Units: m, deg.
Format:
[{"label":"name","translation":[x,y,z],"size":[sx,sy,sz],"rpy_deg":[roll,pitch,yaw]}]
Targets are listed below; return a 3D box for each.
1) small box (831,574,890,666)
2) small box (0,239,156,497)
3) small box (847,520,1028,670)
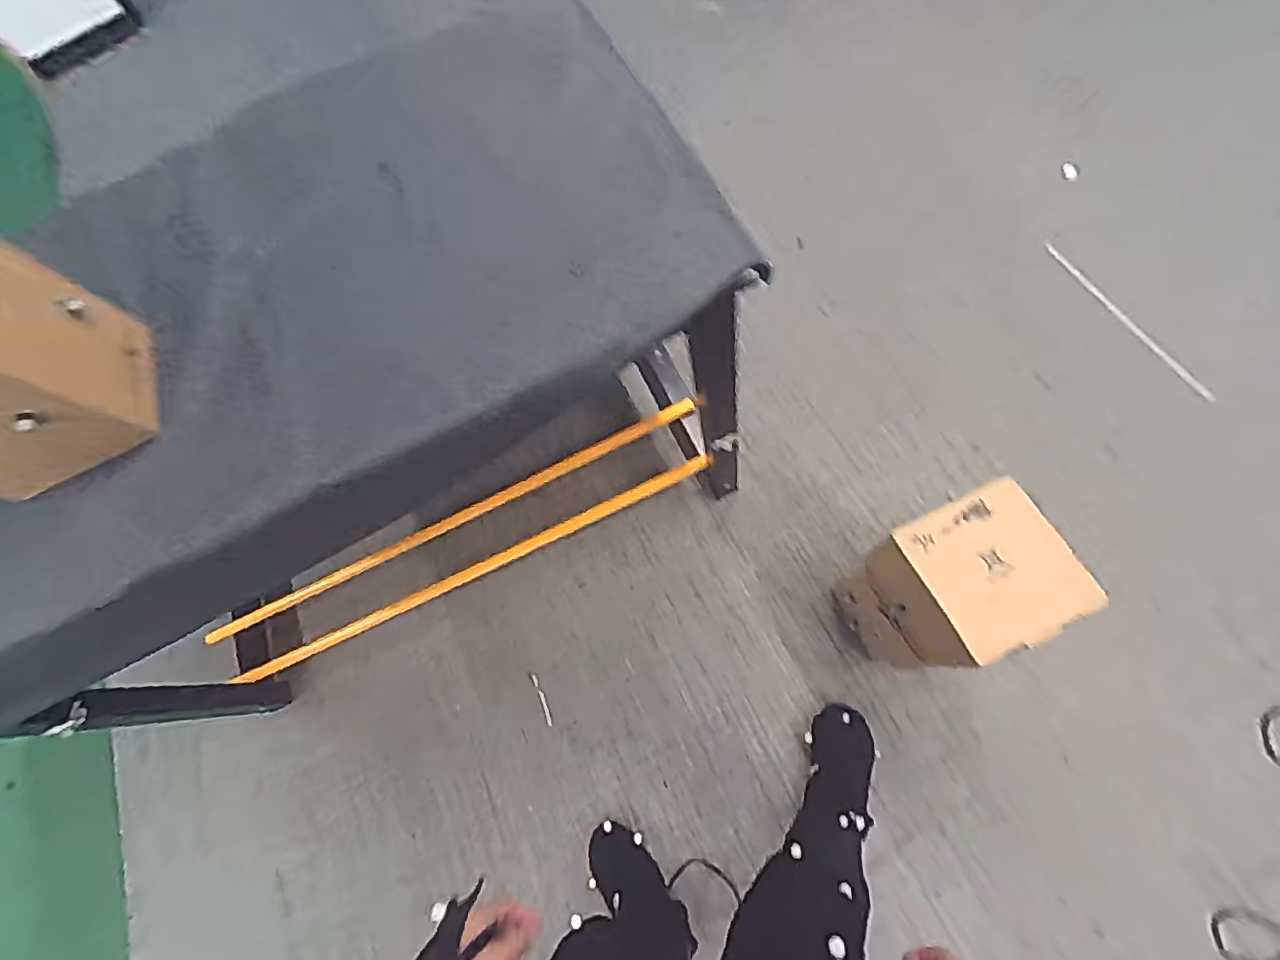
[{"label":"small box","translation":[0.489,0.238,1.019],"size":[0.179,0.176,0.168],"rpy_deg":[-25,68,-1]},{"label":"small box","translation":[-0.649,-0.107,0.558],"size":[0.179,0.176,0.168],"rpy_deg":[-26,67,0]},{"label":"small box","translation":[0.453,0.193,0.866],"size":[0.179,0.176,0.168],"rpy_deg":[-27,68,-1]}]
